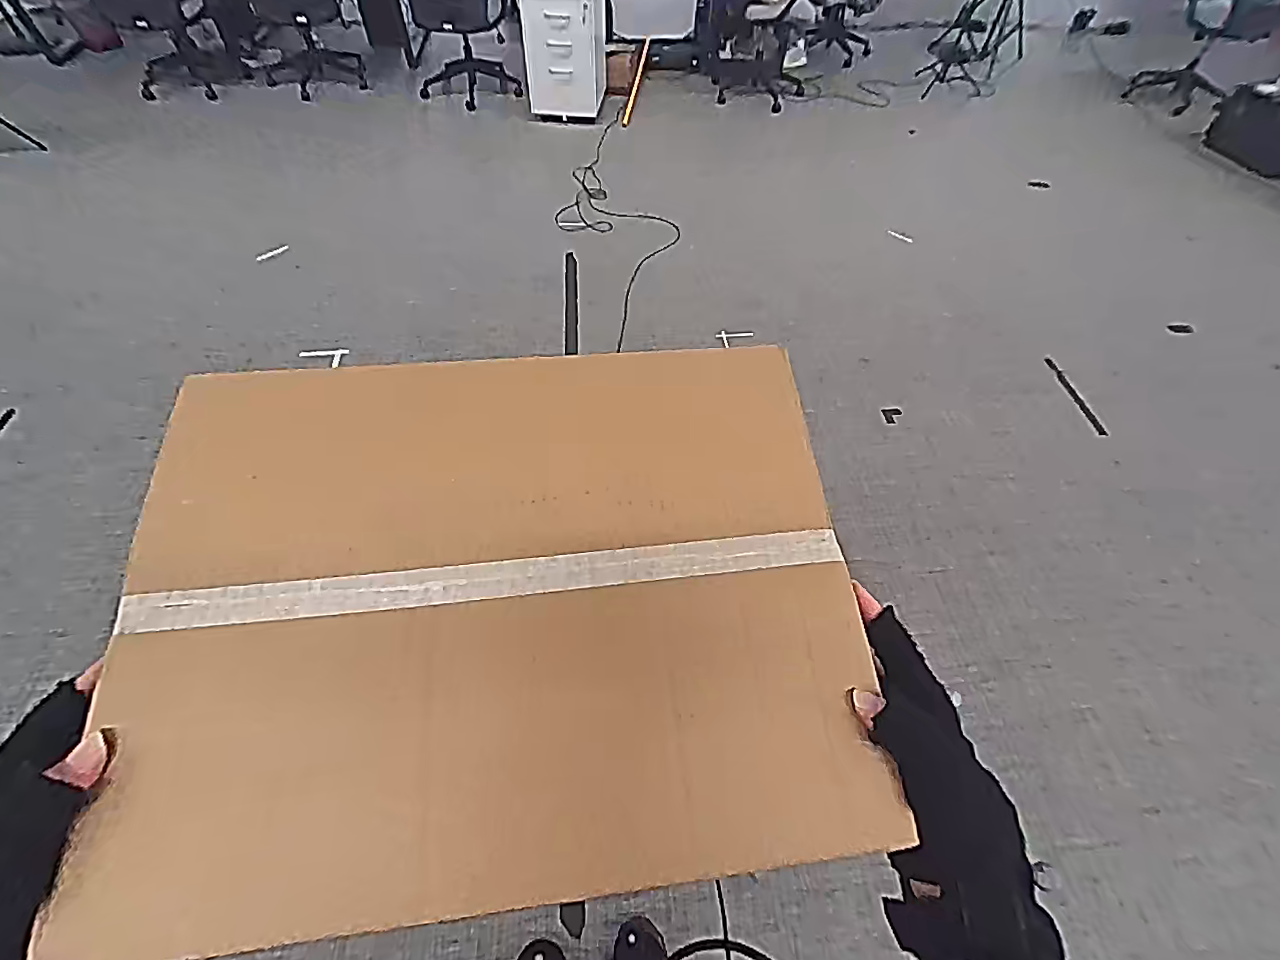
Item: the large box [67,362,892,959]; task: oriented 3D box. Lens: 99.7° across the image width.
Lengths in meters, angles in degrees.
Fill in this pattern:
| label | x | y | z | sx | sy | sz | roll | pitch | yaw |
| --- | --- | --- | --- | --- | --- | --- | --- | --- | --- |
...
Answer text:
| label | x | y | z | sx | sy | sz | roll | pitch | yaw |
| --- | --- | --- | --- | --- | --- | --- | --- | --- | --- |
| large box | -0.087 | 0.129 | 0.456 | 0.408 | 0.320 | 0.320 | -5 | 65 | -6 |
